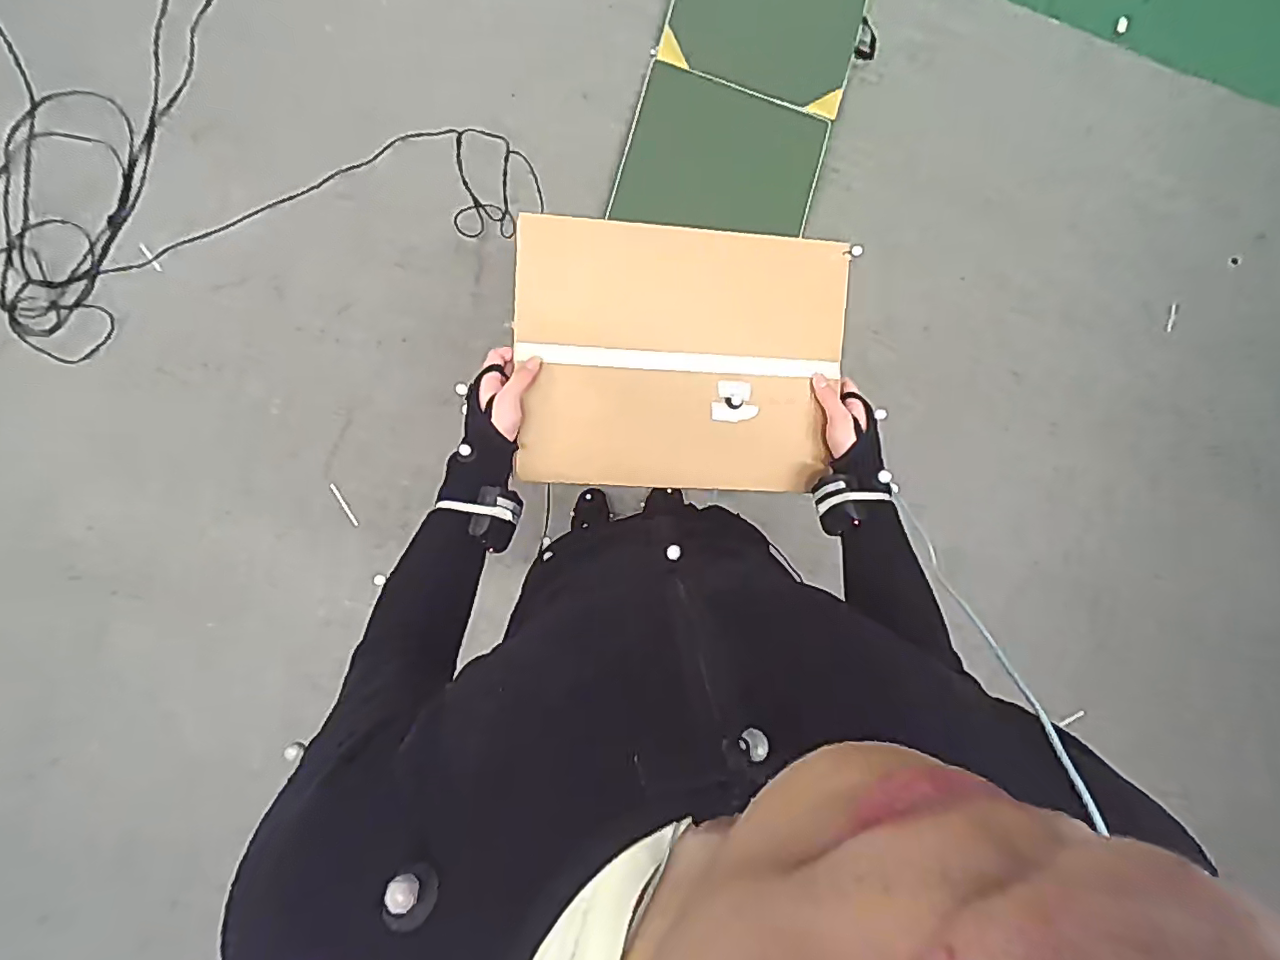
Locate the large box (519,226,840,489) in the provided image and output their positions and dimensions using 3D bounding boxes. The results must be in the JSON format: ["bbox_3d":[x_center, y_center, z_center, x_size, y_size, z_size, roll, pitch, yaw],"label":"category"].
[{"bbox_3d":[0.034,-0.159,0.822,0.408,0.320,0.320,2,96,-7],"label":"large box"}]
